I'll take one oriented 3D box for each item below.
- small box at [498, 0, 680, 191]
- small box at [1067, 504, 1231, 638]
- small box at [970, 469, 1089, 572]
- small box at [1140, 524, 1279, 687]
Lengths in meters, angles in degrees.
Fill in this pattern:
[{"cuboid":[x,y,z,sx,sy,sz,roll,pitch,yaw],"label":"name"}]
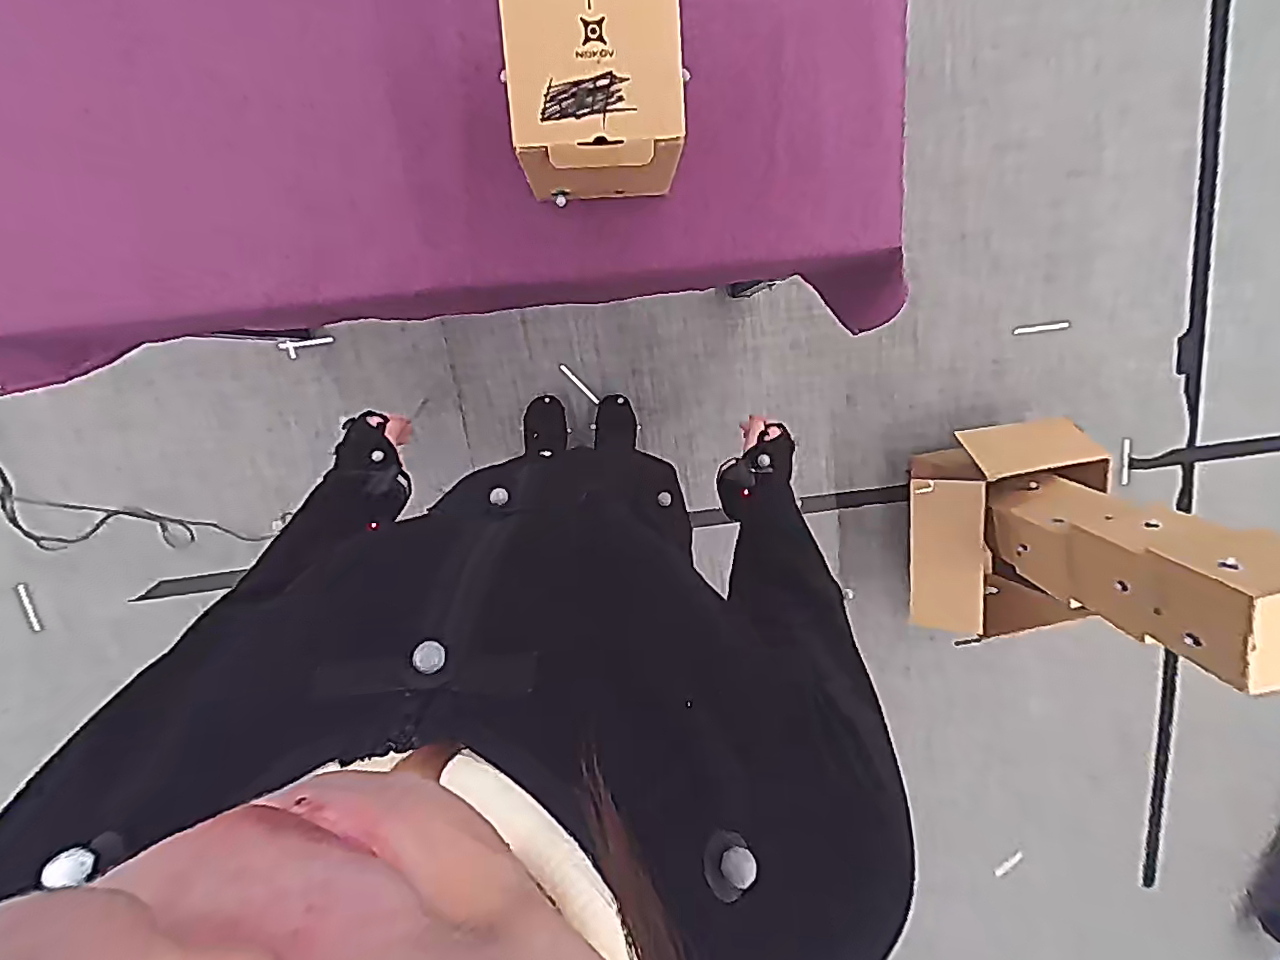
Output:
[{"cuboid":[-0.049,-0.423,0.575,0.168,0.176,0.179,-4,102,-3],"label":"small box"},{"cuboid":[0.927,0.155,0.993,0.168,0.176,0.179,-14,106,4],"label":"small box"},{"cuboid":[0.947,0.088,1.316,0.168,0.176,0.179,-28,106,6],"label":"small box"},{"cuboid":[0.926,0.184,0.831,0.179,0.176,0.168,-13,107,3],"label":"small box"}]
